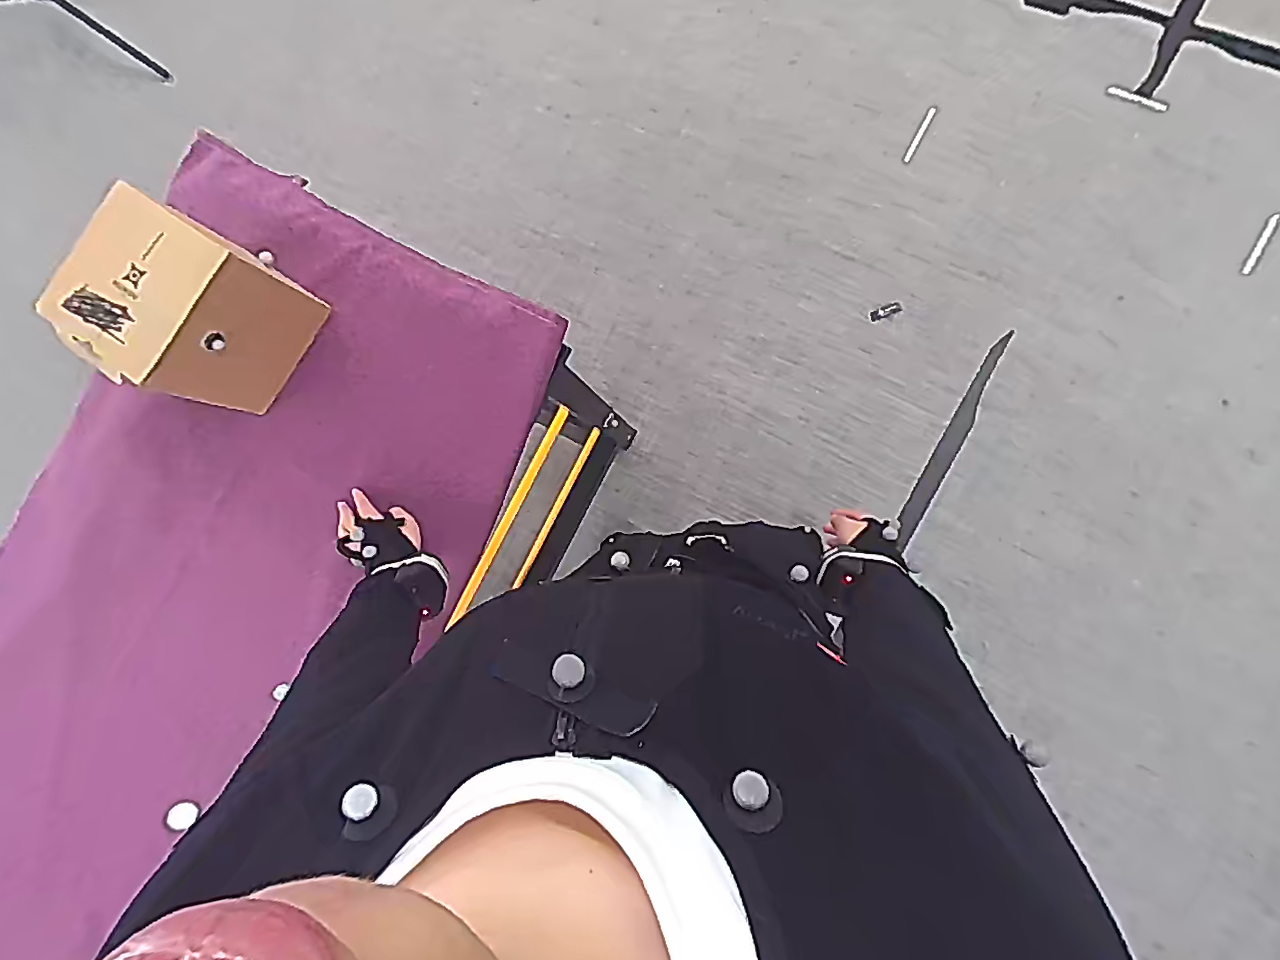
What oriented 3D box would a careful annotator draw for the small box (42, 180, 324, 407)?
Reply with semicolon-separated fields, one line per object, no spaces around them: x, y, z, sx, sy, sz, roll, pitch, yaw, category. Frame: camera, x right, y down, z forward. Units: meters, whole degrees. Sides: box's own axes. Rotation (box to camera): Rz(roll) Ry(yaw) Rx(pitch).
-0.540;-0.211;0.666;0.168;0.176;0.179;34;90;6;small box
